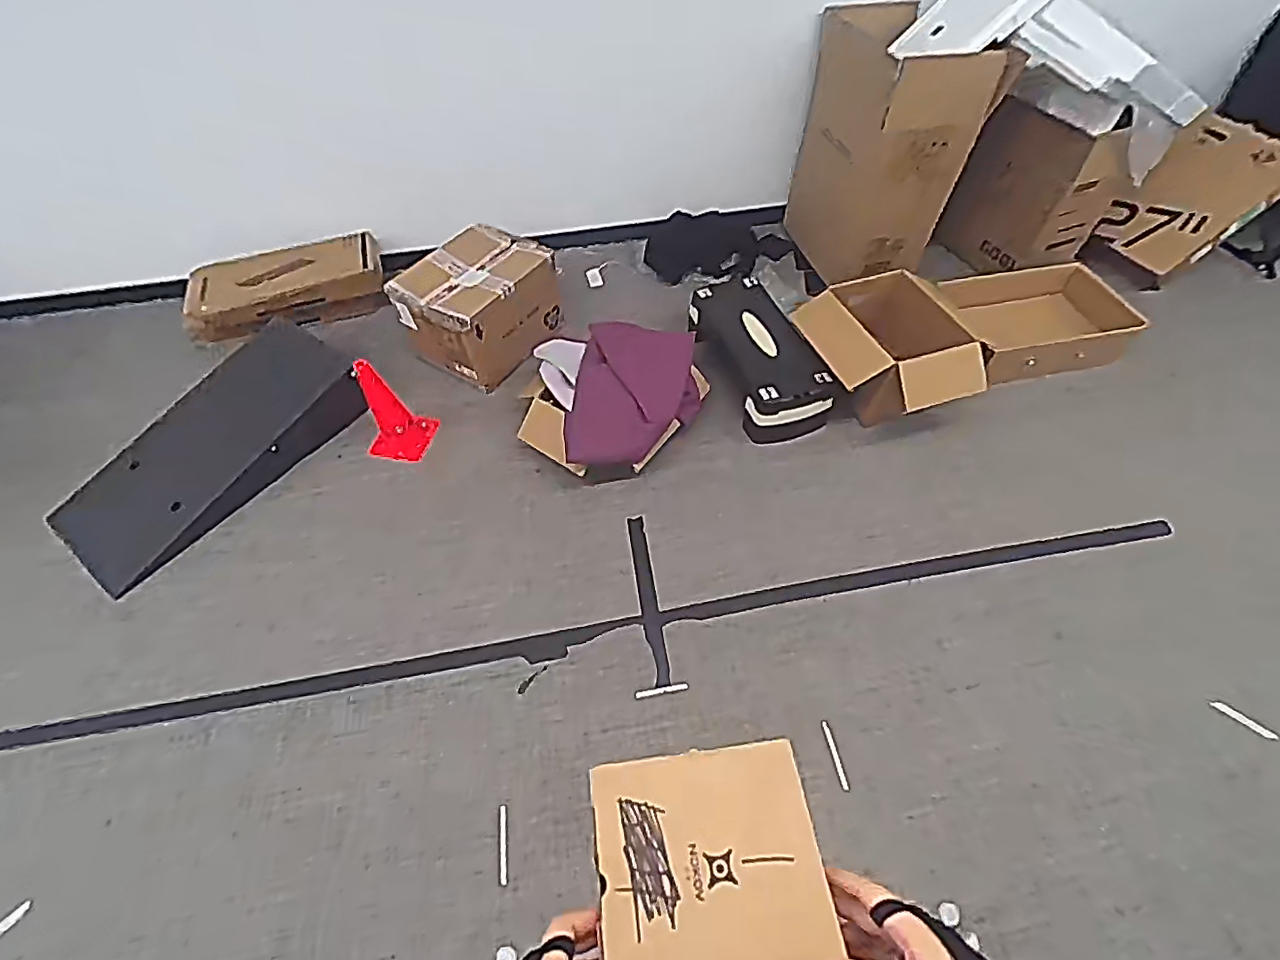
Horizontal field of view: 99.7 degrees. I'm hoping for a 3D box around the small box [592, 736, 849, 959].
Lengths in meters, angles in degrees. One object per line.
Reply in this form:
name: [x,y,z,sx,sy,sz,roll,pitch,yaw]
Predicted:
small box: [0.058,0.344,0.479,0.179,0.176,0.168,-7,53,-3]
